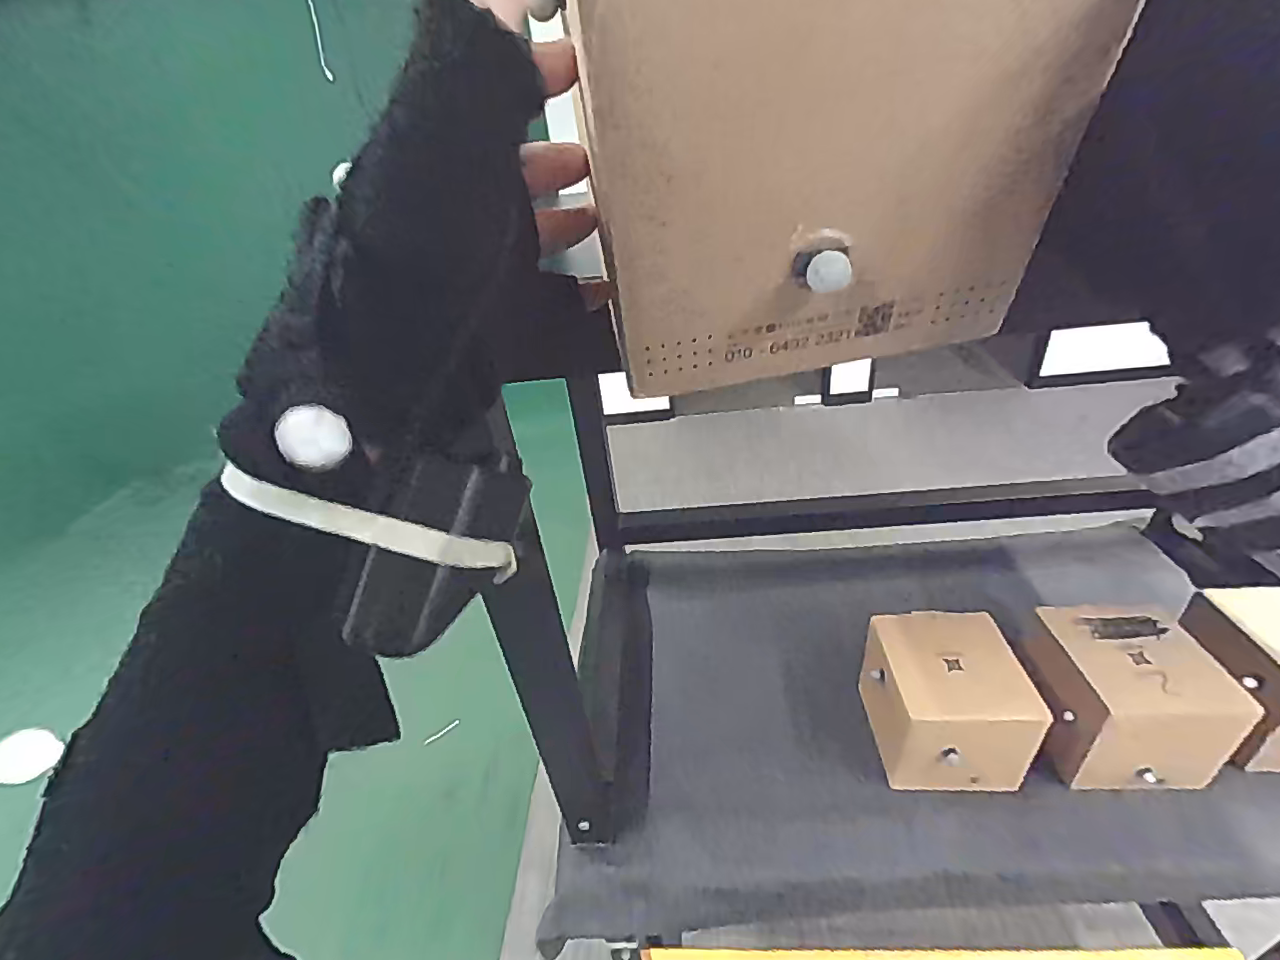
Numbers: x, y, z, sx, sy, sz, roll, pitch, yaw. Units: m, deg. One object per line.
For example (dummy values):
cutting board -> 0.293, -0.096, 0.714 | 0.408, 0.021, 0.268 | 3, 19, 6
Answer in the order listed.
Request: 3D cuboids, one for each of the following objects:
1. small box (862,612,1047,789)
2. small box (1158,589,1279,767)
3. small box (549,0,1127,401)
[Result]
small box -> 0.426, 0.312, 0.768 | 0.168, 0.176, 0.179 | -3, 32, 7
small box -> 0.876, 0.269, 0.732 | 0.168, 0.176, 0.179 | -3, 32, 8
small box -> 0.051, -0.161, 0.236 | 0.168, 0.176, 0.179 | -11, 49, -1
